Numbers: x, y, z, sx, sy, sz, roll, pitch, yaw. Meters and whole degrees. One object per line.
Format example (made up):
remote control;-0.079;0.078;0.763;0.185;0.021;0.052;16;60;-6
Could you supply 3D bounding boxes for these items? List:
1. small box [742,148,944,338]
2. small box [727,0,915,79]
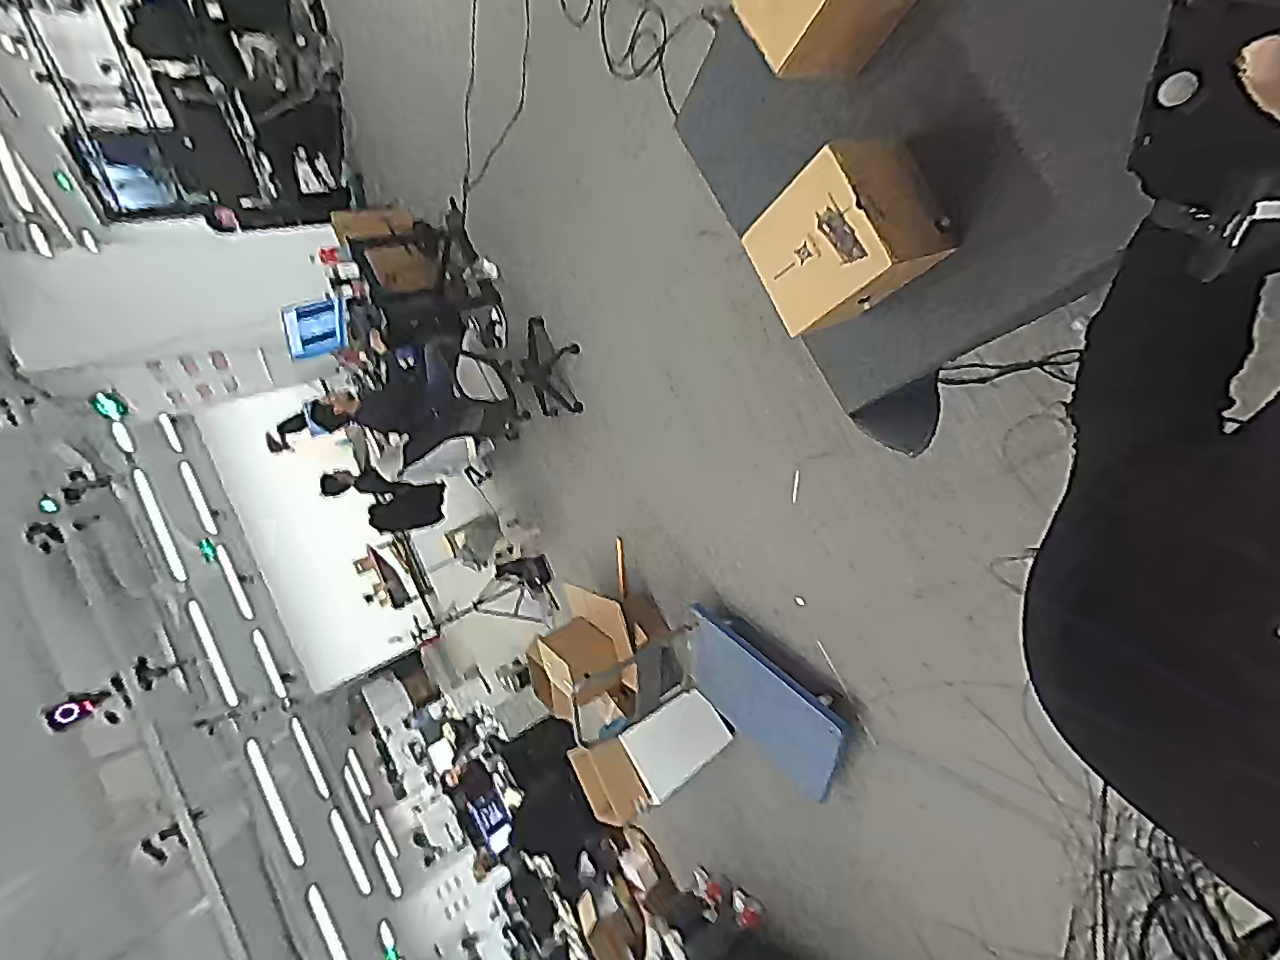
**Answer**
small box;0.282;-0.326;0.744;0.168;0.176;0.179;64;149;4
small box;0.224;-0.613;0.631;0.168;0.176;0.179;61;148;6
